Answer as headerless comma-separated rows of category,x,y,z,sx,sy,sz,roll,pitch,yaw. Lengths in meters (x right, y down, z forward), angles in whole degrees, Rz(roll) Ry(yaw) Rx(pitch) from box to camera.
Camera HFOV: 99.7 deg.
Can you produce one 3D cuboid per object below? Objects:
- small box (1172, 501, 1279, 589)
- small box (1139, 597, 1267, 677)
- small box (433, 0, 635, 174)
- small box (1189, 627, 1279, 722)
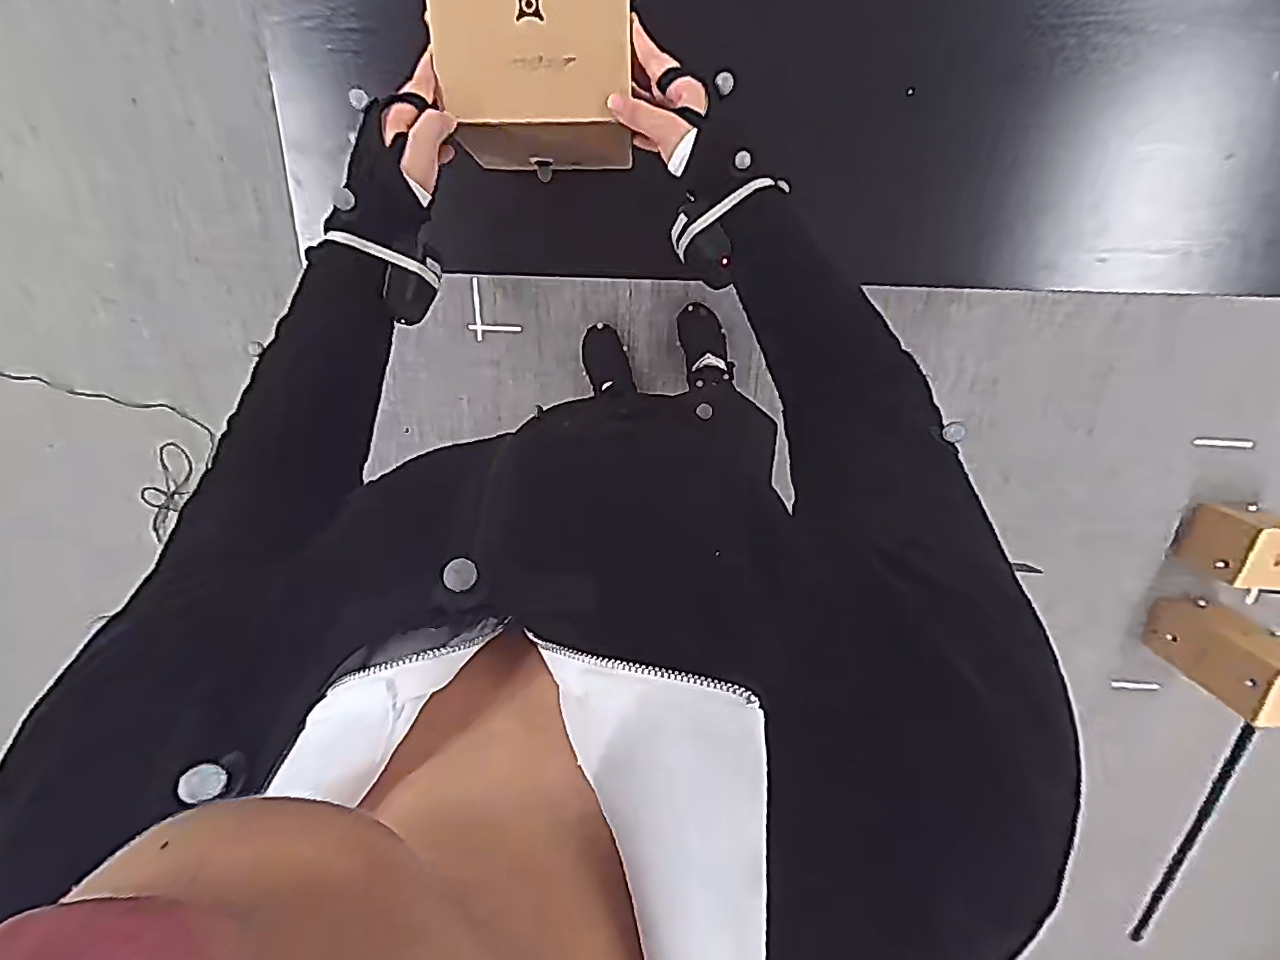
small box,1.617,0.173,1.465,0.168,0.176,0.179,4,110,0
small box,1.619,0.452,1.570,0.179,0.176,0.168,0,110,2
small box,-0.089,-0.413,0.521,0.168,0.176,0.179,-2,108,1
small box,1.611,0.503,1.412,0.168,0.176,0.179,0,111,2
